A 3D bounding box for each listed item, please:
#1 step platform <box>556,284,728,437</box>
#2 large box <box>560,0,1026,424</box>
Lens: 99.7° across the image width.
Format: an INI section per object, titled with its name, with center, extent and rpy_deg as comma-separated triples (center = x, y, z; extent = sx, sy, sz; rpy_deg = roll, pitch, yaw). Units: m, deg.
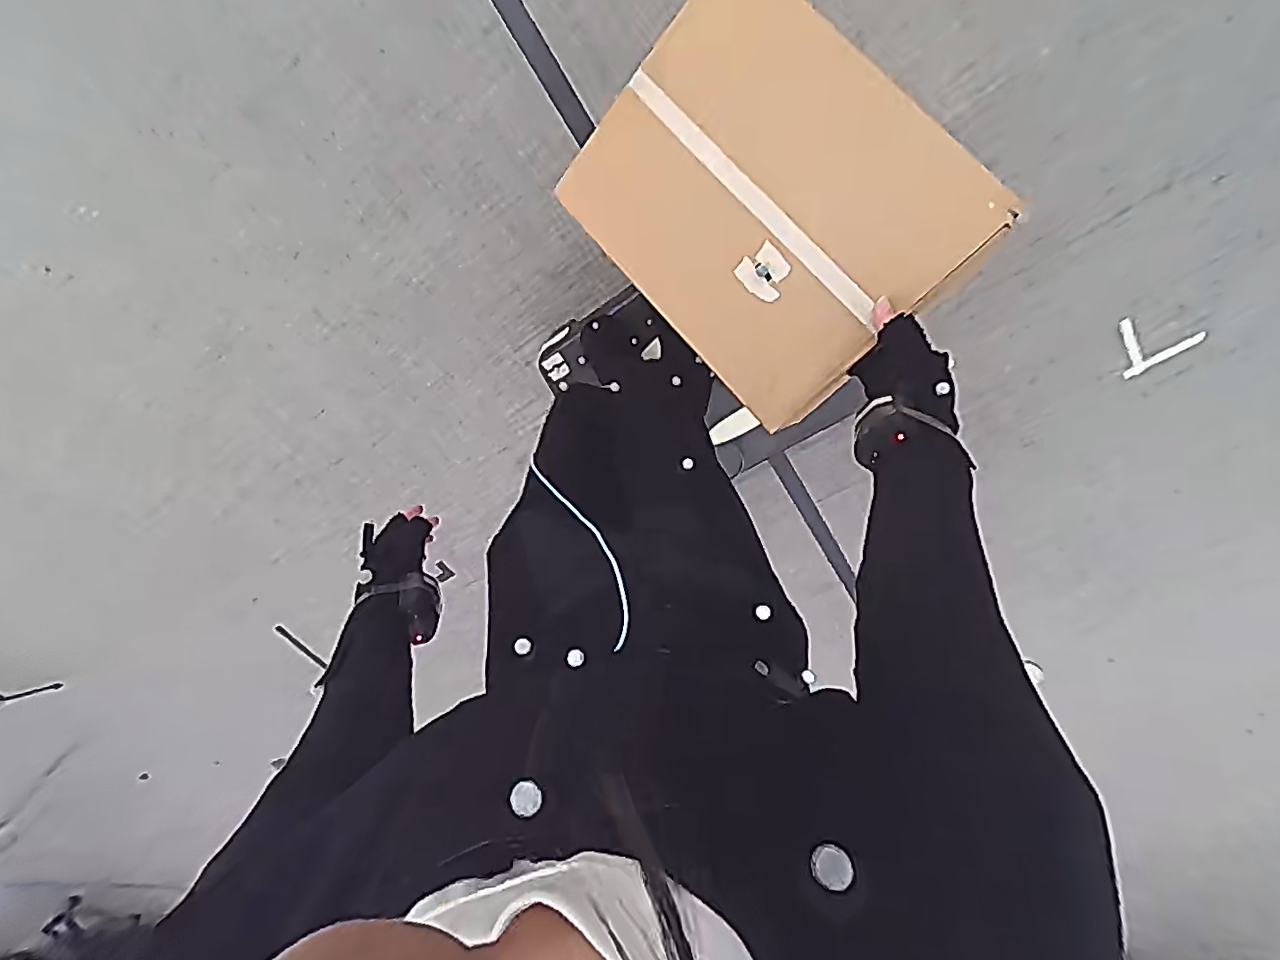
[step platform]
center = 0.137, -0.386, 1.250
extent = 0.684, 0.204, 0.286
rpy_deg = -30, 113, 19
[large box]
center = 0.182, -0.329, 0.718
extent = 0.408, 0.320, 0.320
rpy_deg = 48, 114, 7
